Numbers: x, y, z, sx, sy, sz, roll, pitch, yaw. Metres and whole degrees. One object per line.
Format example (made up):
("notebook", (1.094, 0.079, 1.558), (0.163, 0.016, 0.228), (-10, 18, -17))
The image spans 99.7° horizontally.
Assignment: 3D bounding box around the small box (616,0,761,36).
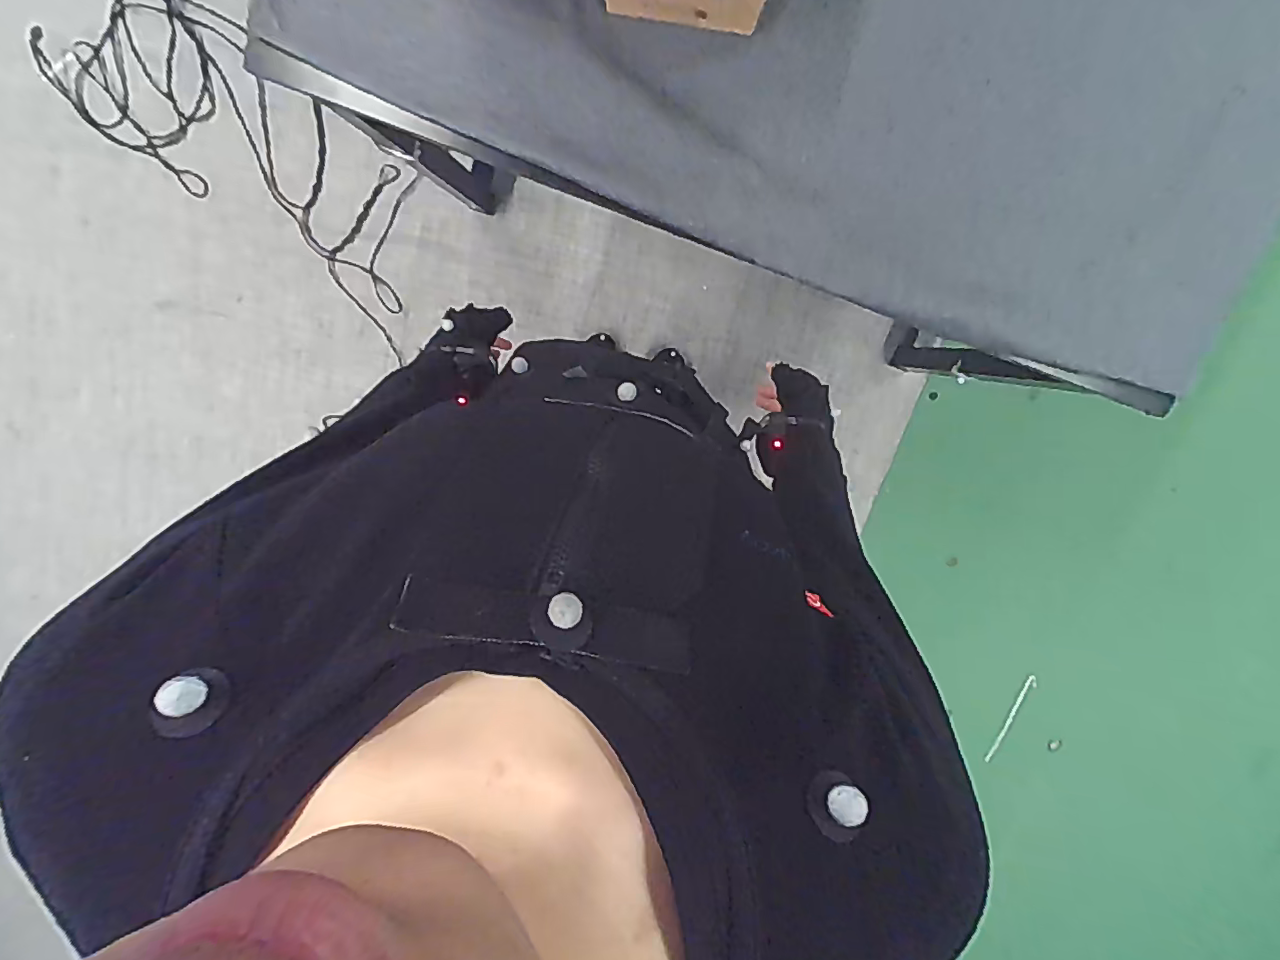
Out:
("small box", (0.055, -0.567, 0.507), (0.168, 0.176, 0.179), (8, 104, -3))
